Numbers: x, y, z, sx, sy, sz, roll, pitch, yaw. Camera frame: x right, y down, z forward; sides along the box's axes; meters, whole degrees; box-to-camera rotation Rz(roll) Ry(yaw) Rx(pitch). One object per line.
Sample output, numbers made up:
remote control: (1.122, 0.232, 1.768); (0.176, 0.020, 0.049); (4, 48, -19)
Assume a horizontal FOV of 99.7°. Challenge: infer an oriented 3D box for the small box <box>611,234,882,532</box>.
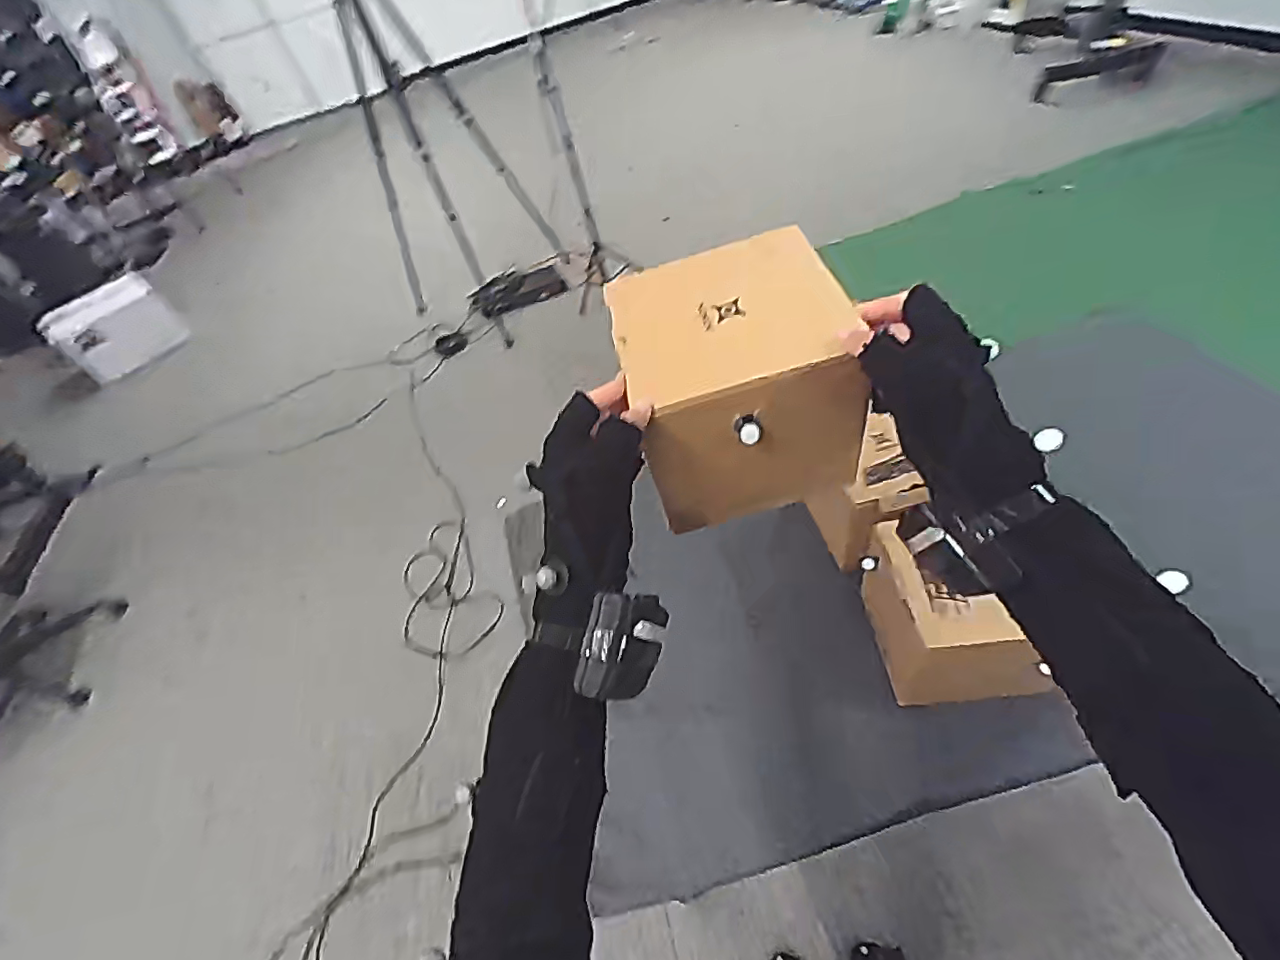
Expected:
small box: (0.087, -0.077, 0.482); (0.179, 0.176, 0.168); (-16, 53, 5)
